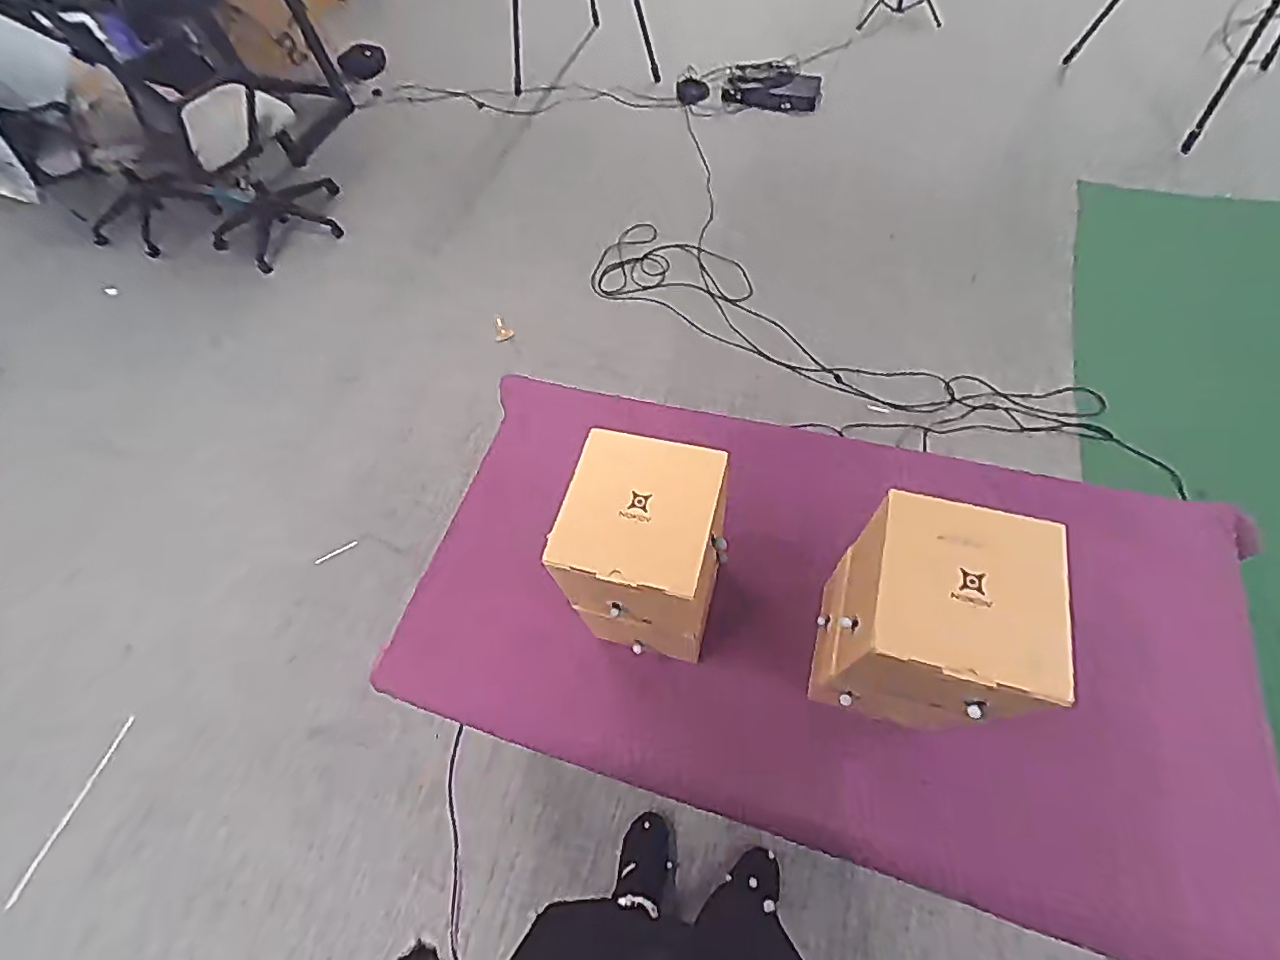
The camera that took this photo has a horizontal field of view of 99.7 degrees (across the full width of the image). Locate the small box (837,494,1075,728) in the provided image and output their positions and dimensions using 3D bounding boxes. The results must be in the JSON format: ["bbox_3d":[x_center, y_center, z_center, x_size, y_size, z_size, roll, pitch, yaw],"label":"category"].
[{"bbox_3d":[0.317,0.144,0.570,0.168,0.176,0.179,14,63,13],"label":"small box"}]

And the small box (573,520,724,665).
[{"bbox_3d":[0.019,0.149,0.786,0.168,0.176,0.179,12,63,13],"label":"small box"}]

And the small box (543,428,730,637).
[{"bbox_3d":[0.005,0.068,0.646,0.168,0.176,0.179,12,64,12],"label":"small box"}]
